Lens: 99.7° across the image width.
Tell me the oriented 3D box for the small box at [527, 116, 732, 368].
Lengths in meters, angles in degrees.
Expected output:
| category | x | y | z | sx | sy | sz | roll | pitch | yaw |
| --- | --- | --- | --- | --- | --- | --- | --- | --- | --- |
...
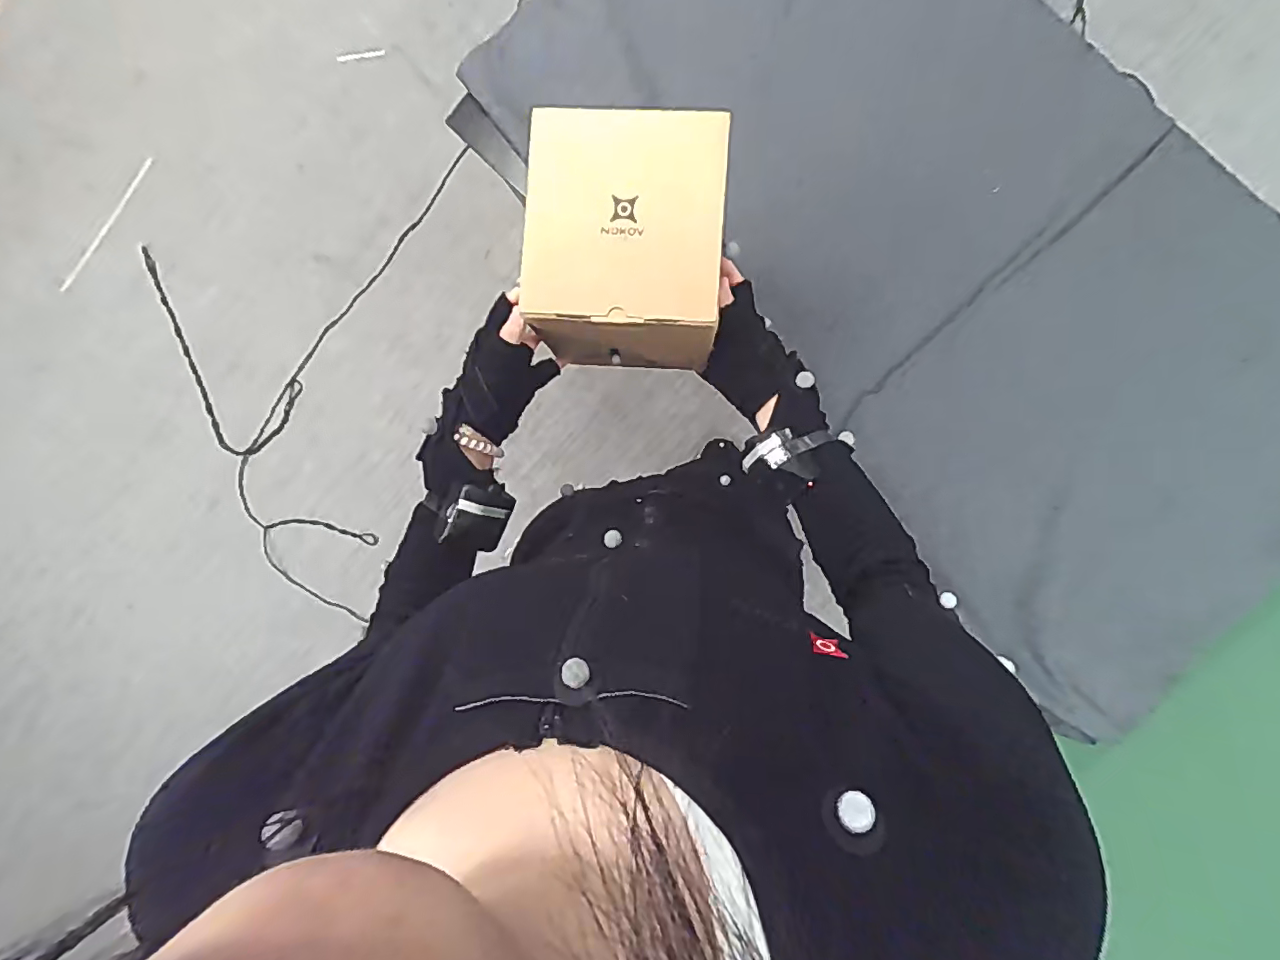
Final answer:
| category | x | y | z | sx | sy | sz | roll | pitch | yaw |
| --- | --- | --- | --- | --- | --- | --- | --- | --- | --- |
| small box | -0.007 | -0.219 | 0.539 | 0.168 | 0.176 | 0.179 | 4 | 91 | 3 |
